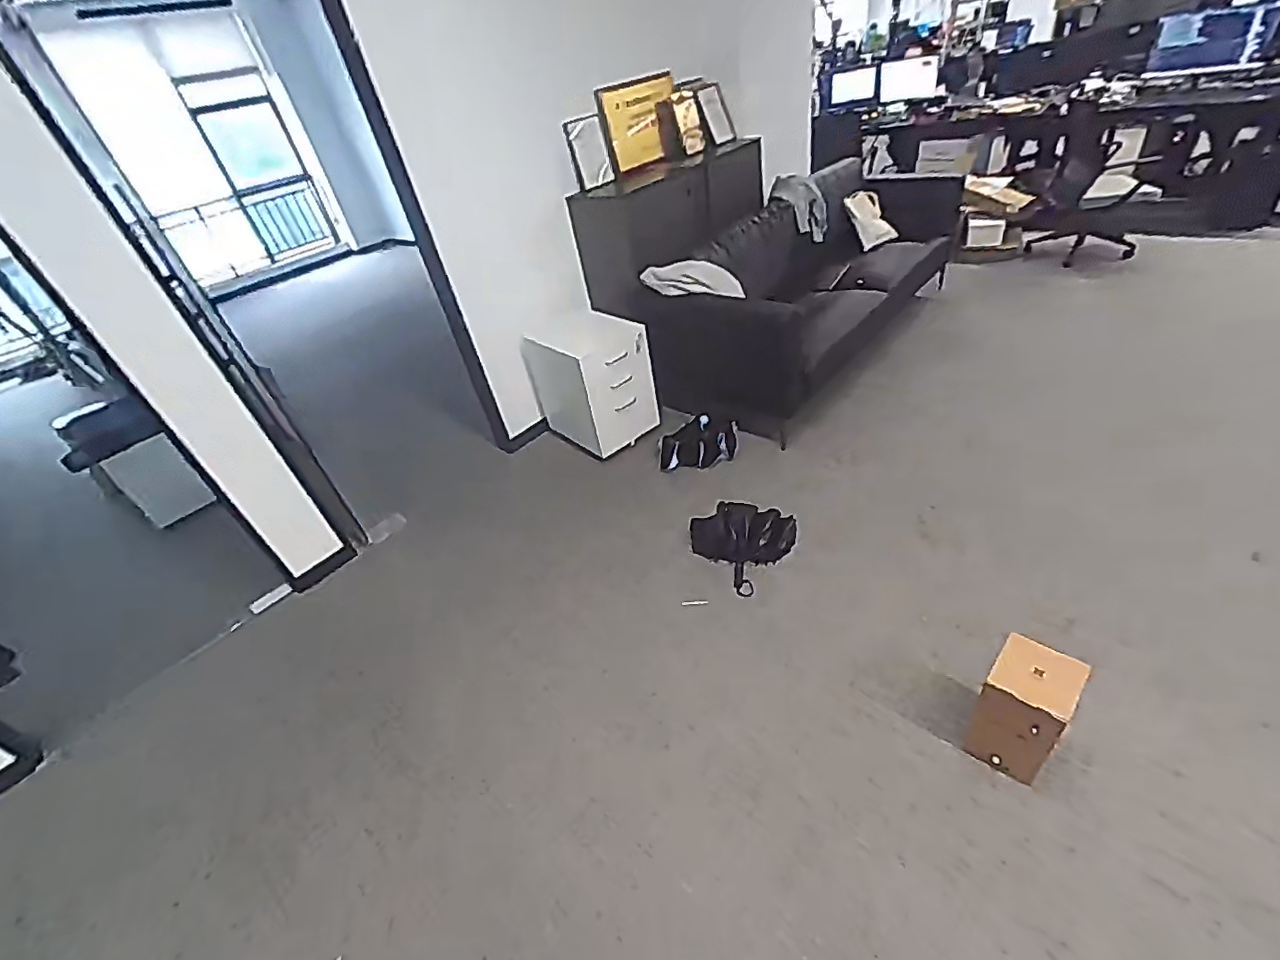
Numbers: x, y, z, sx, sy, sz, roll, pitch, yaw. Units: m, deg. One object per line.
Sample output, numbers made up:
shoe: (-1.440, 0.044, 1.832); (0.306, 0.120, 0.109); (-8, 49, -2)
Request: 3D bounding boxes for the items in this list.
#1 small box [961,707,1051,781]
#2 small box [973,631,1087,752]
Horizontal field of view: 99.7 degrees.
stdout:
small box: (0.959, 0.630, 1.399); (0.168, 0.176, 0.179); (23, 51, 37)
small box: (0.927, 0.509, 1.297); (0.168, 0.176, 0.179); (25, 51, 37)
